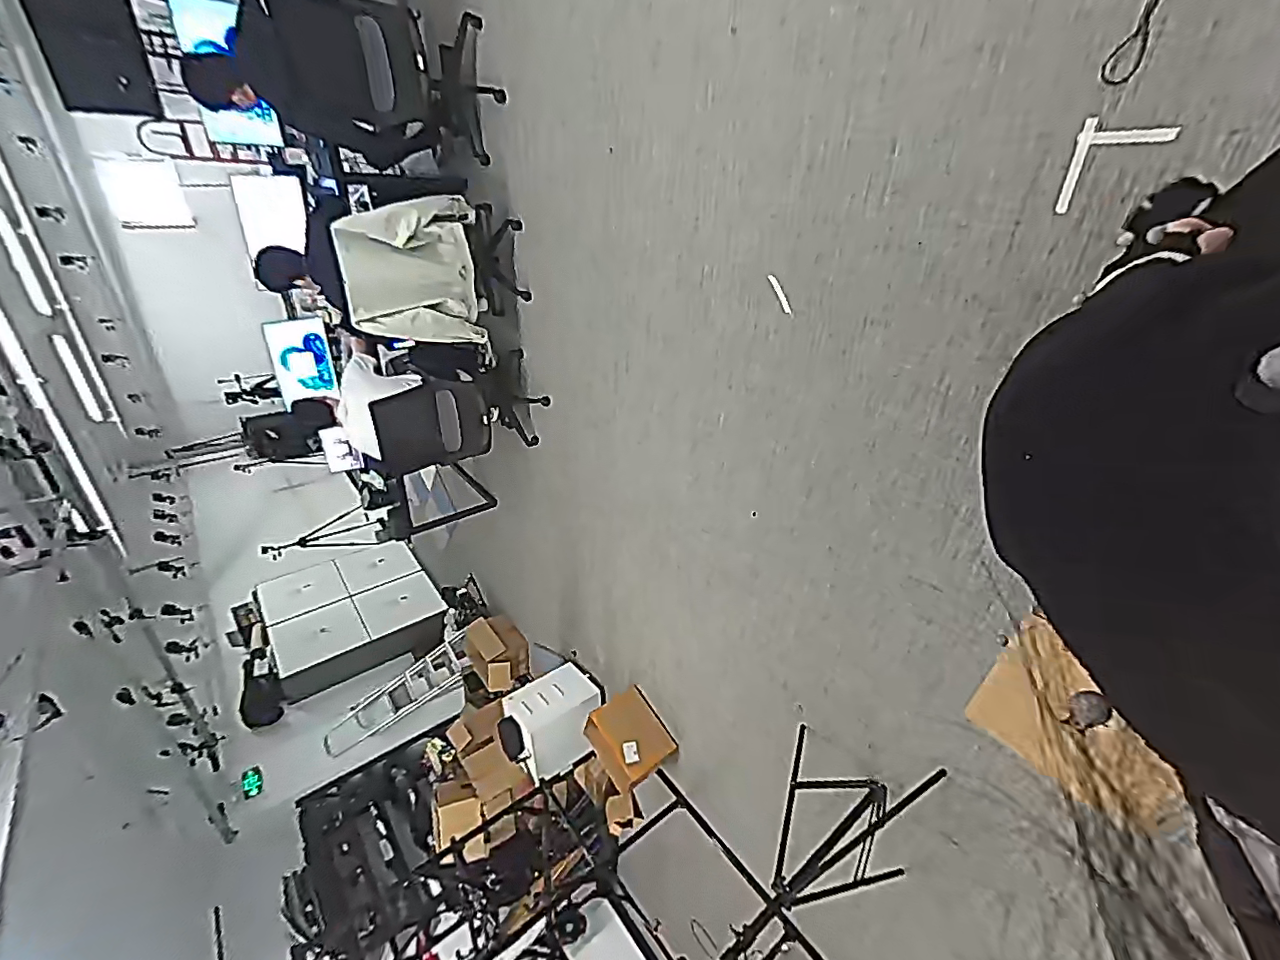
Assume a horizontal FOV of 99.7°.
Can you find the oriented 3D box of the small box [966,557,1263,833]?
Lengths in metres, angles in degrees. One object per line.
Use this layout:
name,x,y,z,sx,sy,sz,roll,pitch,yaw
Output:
small box,0.494,0.211,0.572,0.168,0.176,0.179,37,136,40
